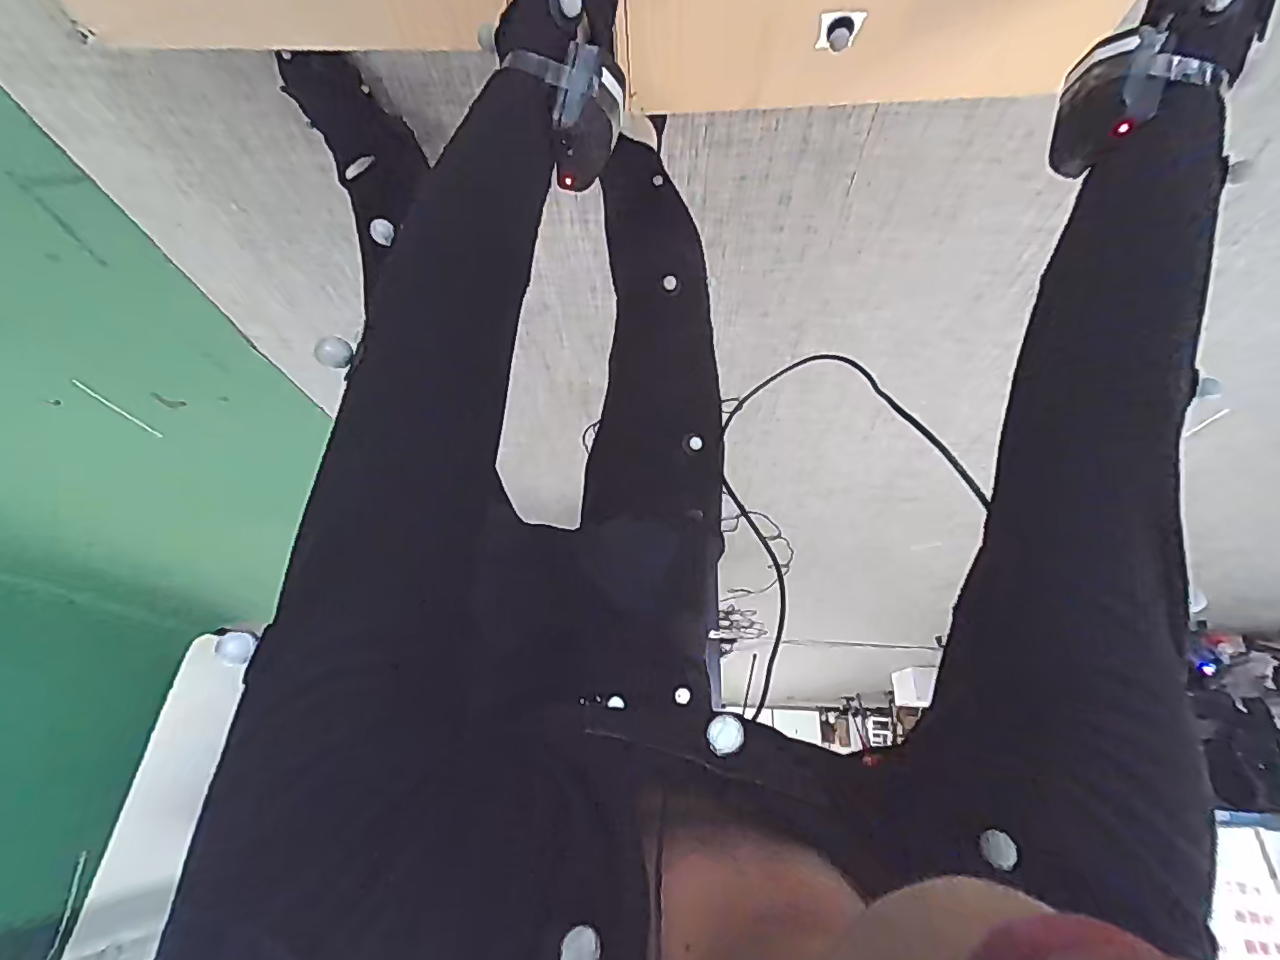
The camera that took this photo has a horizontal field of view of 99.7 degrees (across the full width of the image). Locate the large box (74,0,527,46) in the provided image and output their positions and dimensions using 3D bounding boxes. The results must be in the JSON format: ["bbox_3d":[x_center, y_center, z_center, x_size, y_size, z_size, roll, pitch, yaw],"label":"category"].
[{"bbox_3d":[-0.303,-0.611,0.434,0.408,0.320,0.320,3,153,2],"label":"large box"}]
